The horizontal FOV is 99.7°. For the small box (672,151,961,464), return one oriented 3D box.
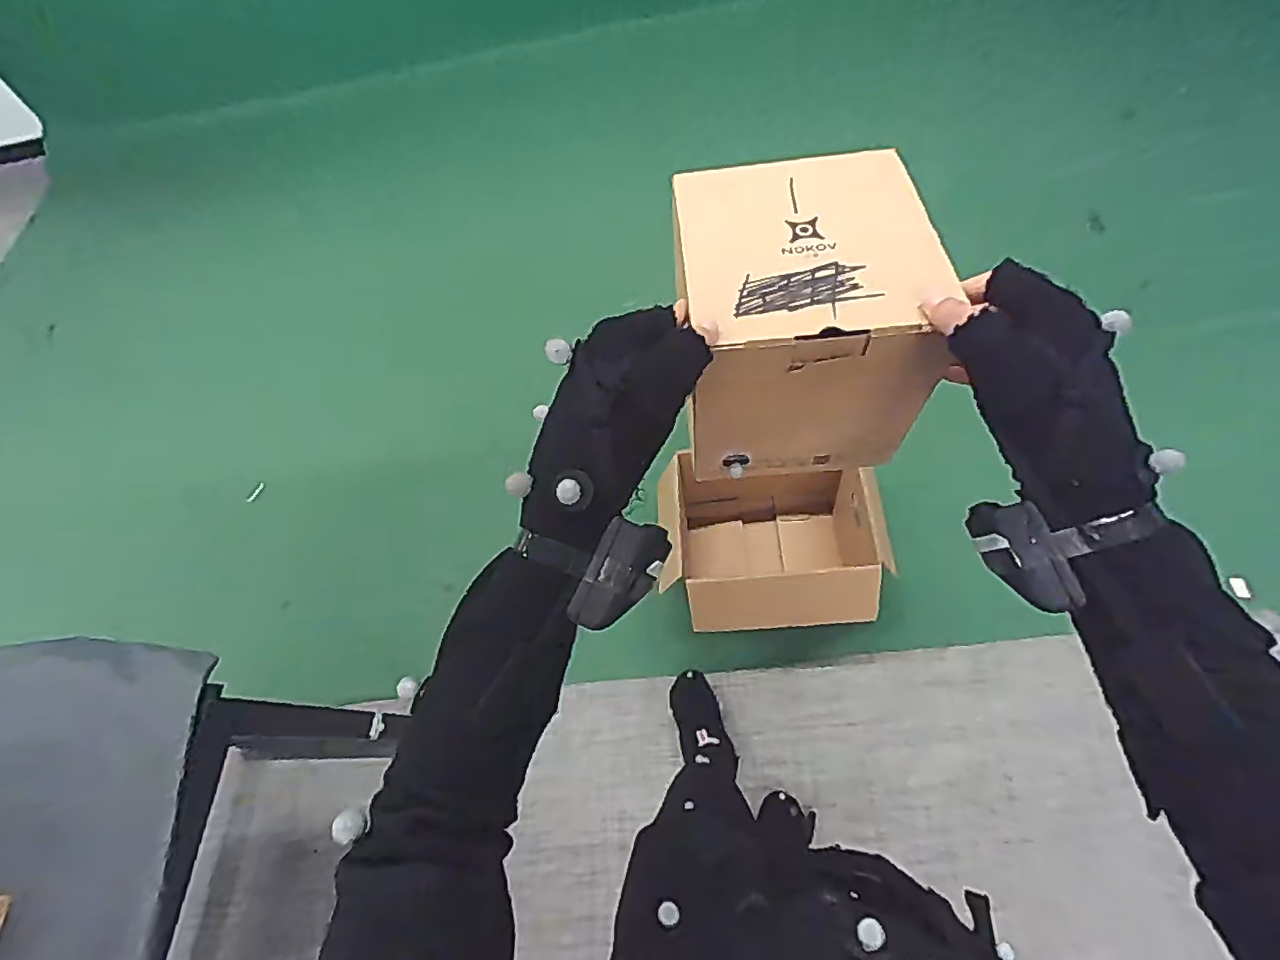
[{"bbox_3d":[0.117,-0.123,0.435,0.168,0.176,0.179,-5,60,4],"label":"small box"}]
